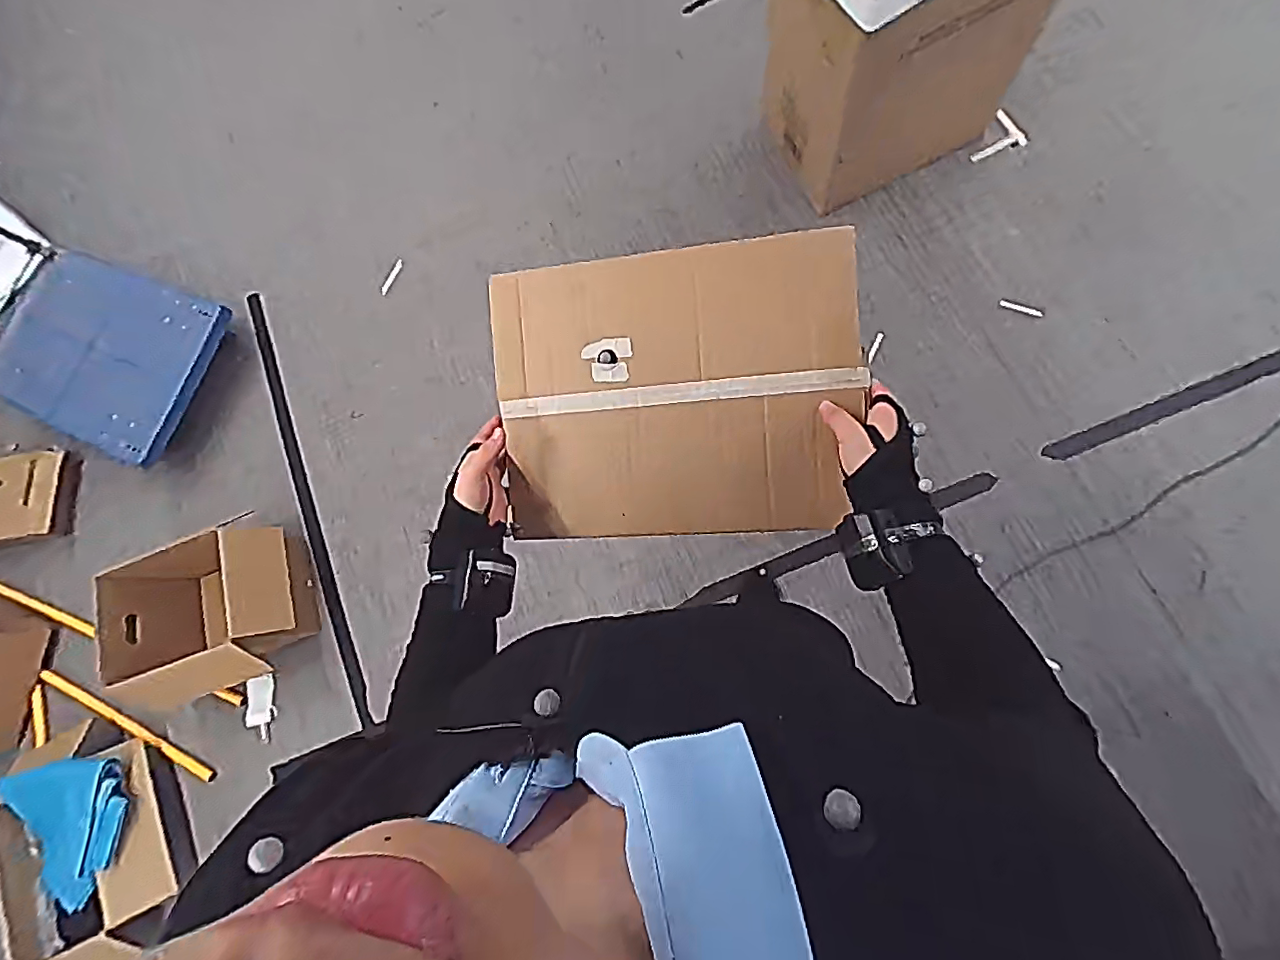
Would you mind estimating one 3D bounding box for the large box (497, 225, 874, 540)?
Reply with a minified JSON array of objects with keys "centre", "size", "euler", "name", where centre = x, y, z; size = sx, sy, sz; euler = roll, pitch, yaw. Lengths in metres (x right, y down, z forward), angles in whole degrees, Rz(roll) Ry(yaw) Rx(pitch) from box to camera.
[{"centre":[0.070,-0.107,0.738],"size":[0.408,0.320,0.320],"euler":[-3,94,12],"name":"large box"}]
